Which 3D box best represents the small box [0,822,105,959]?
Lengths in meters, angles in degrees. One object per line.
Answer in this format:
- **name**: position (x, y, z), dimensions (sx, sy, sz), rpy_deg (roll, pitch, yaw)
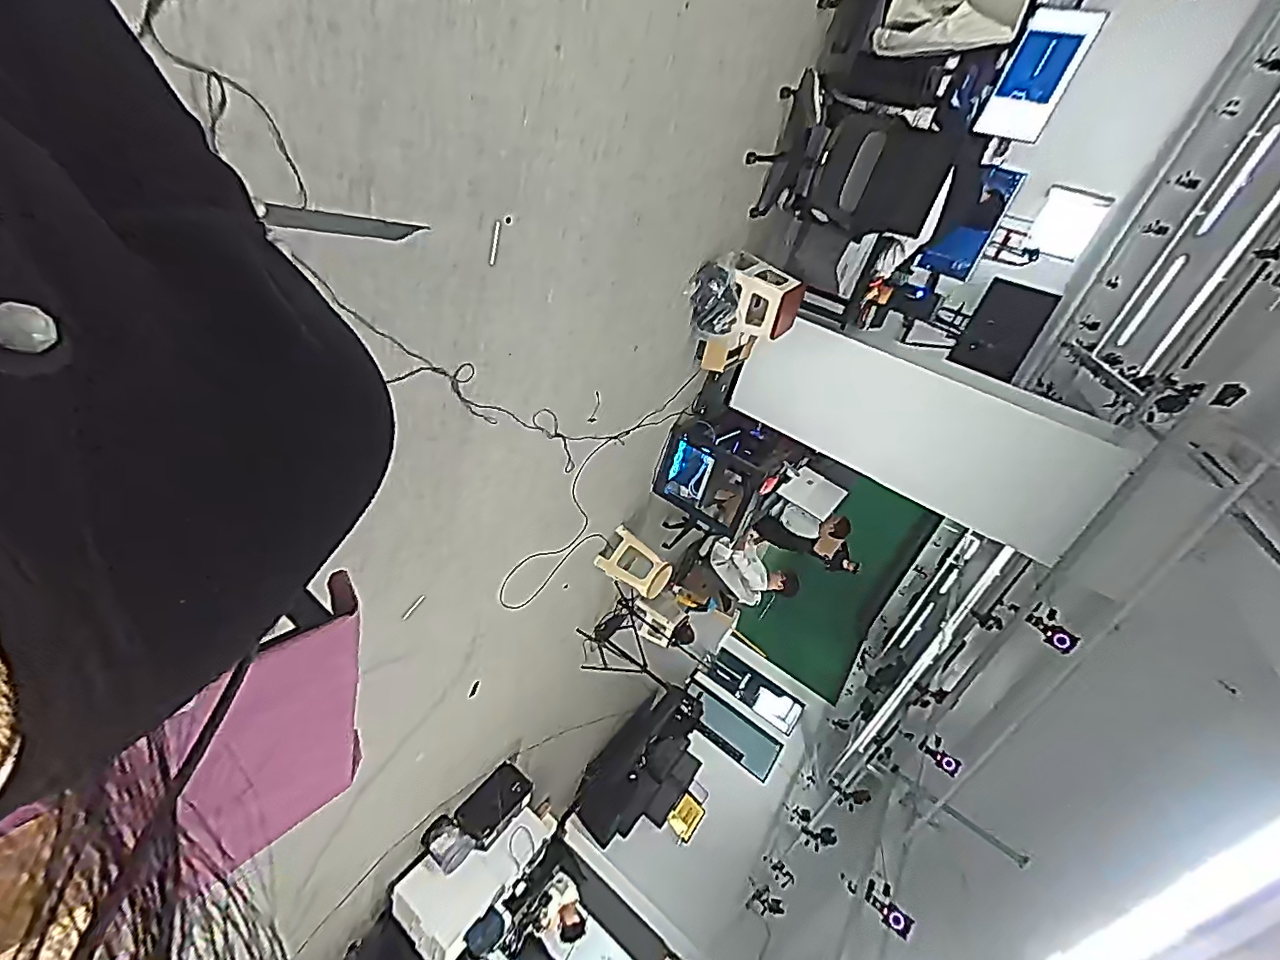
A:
- **small box**: position (-0.877, 0.618, 0.734), dimensions (0.168, 0.176, 0.179), rpy_deg (-24, 140, -55)
